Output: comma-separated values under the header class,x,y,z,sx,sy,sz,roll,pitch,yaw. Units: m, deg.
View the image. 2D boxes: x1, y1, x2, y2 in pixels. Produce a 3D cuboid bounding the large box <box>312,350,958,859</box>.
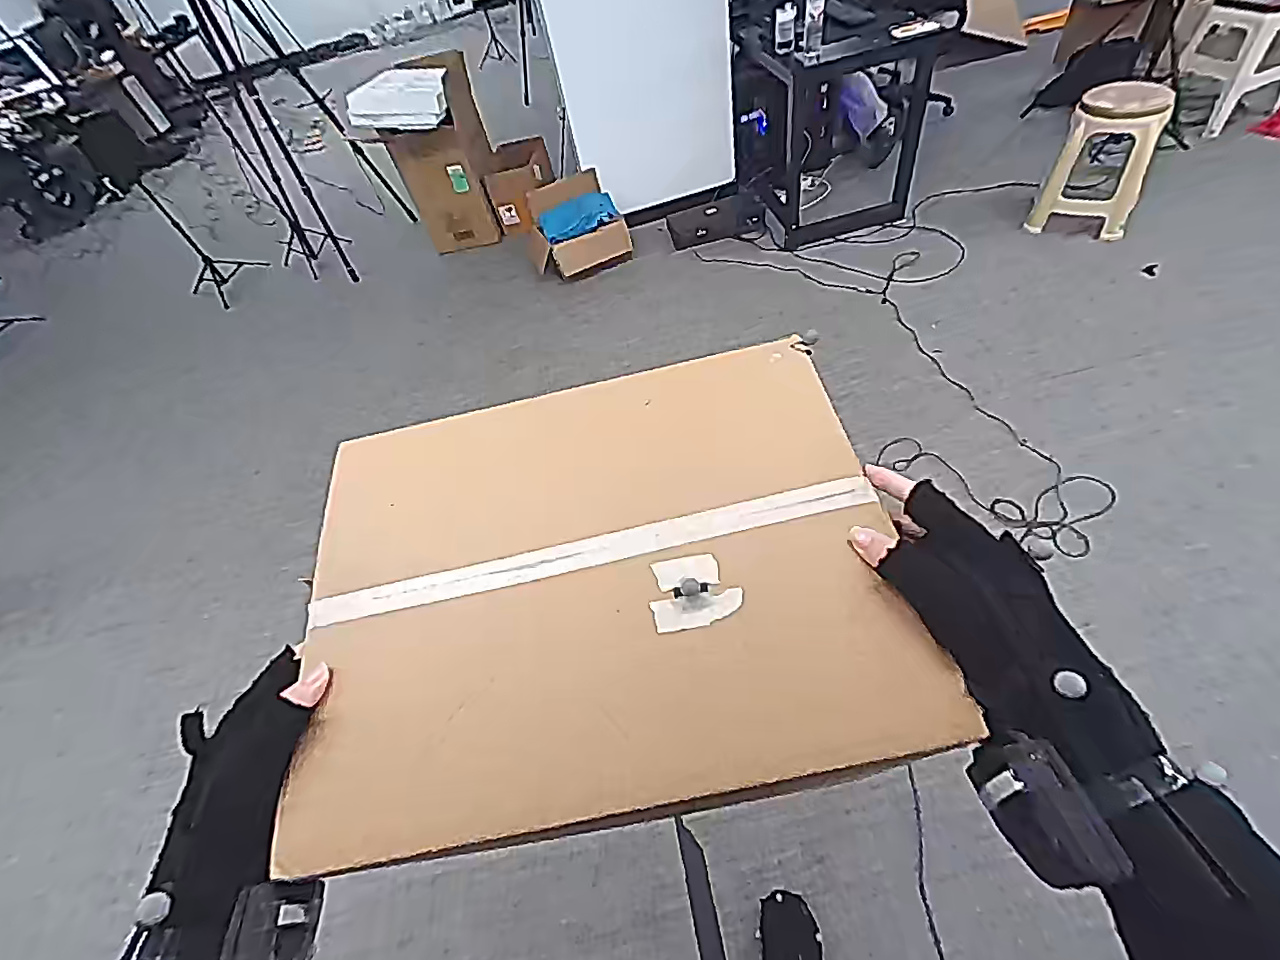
class,x,y,z,sx,sy,sz,roll,pitch,yaw
large box,-0.011,0.133,0.522,0.408,0.320,0.320,-13,58,2
